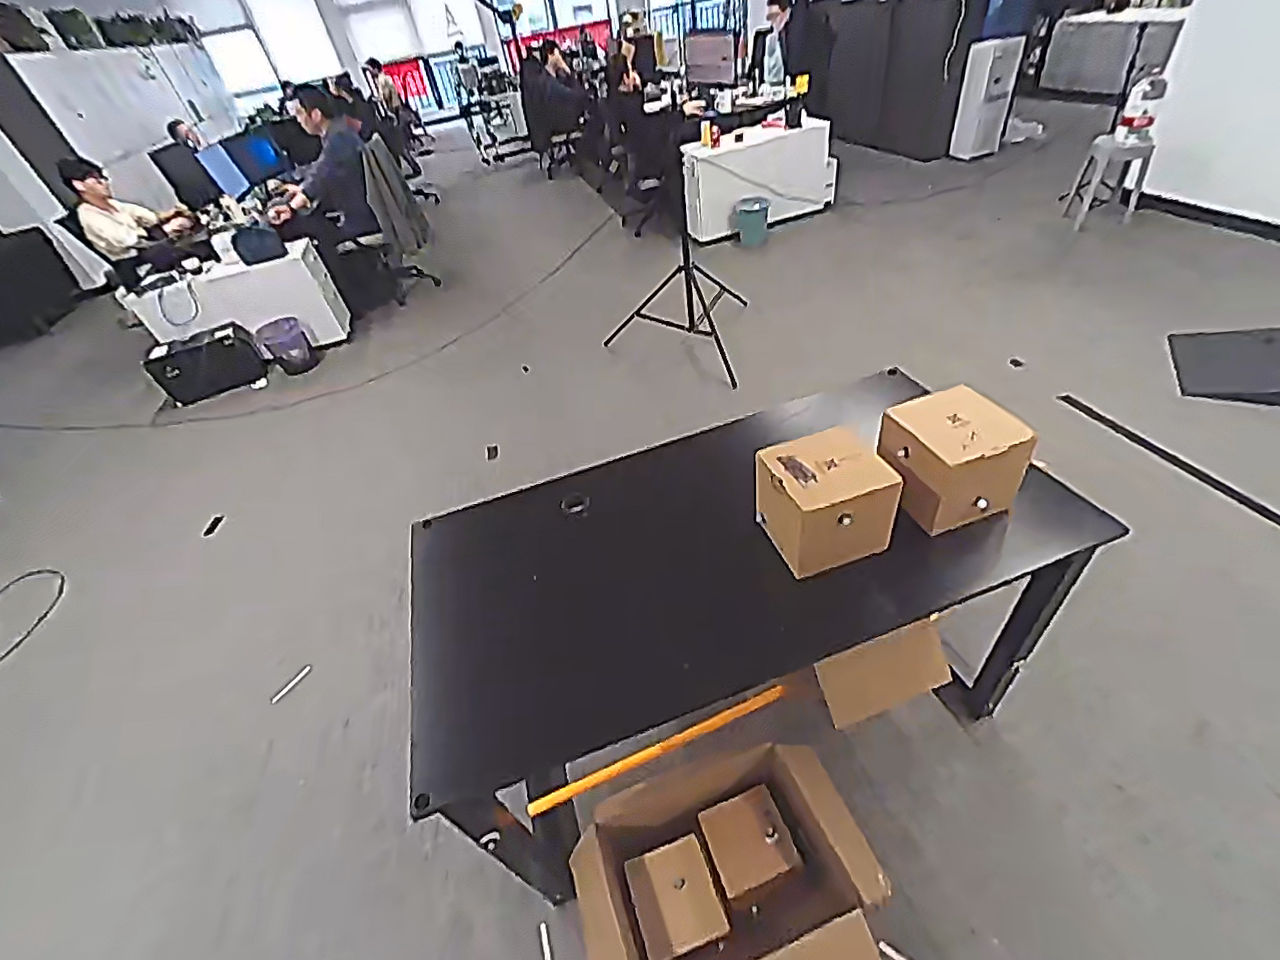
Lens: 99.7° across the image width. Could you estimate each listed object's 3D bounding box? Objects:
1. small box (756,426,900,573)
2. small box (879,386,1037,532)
[{"bbox_3d":[0.316,0.037,0.942,0.179,0.176,0.168,-17,42,-7],"label":"small box"},{"bbox_3d":[0.549,-0.038,0.969,0.168,0.176,0.179,-18,42,-5],"label":"small box"}]
